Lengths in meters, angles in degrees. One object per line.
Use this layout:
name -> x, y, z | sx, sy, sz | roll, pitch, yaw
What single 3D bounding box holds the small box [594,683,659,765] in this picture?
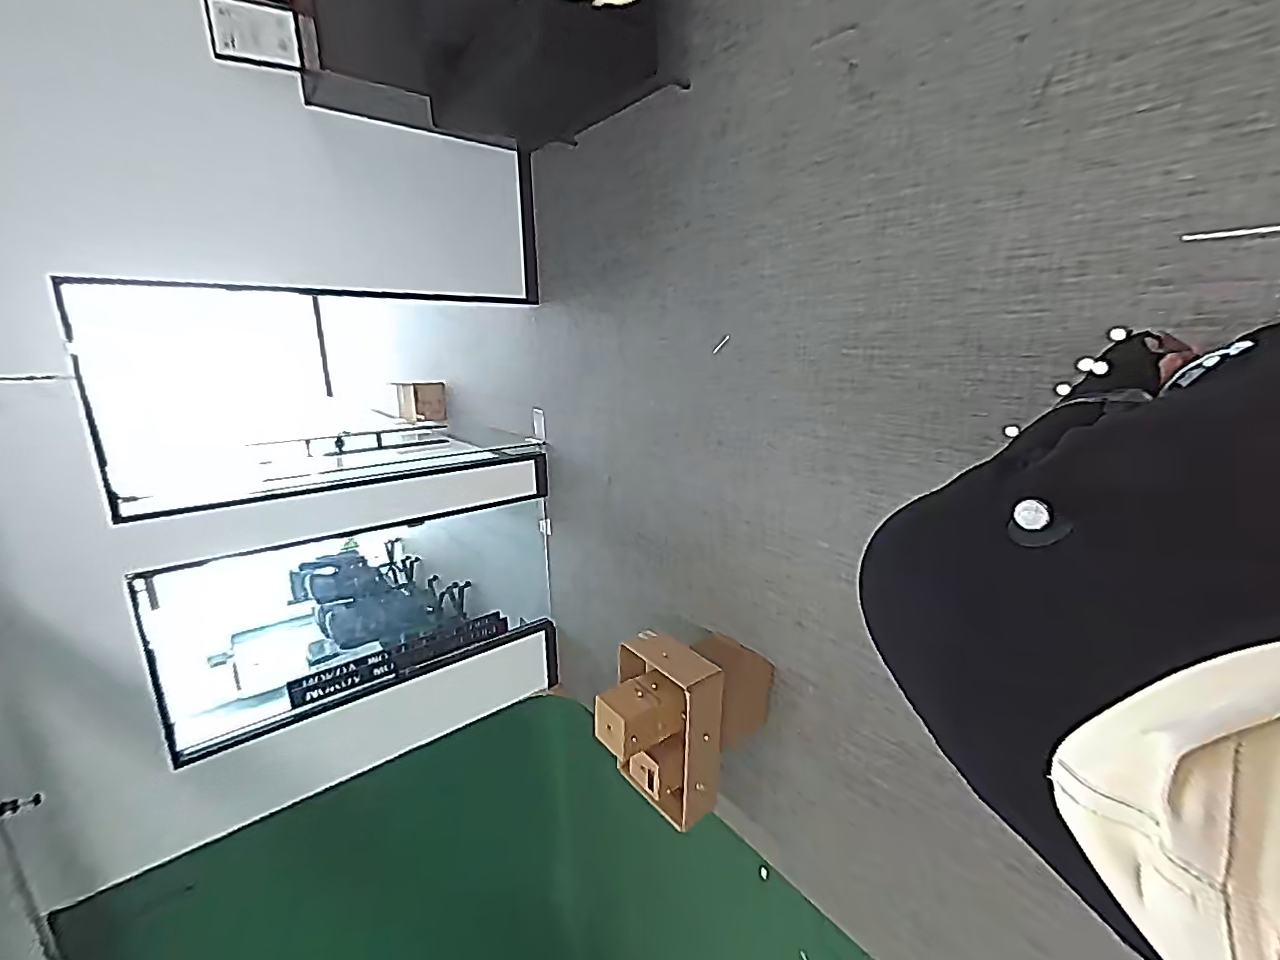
small box -> -0.047, 0.863, 1.929 | 0.168, 0.176, 0.179 | 19, 113, 46
